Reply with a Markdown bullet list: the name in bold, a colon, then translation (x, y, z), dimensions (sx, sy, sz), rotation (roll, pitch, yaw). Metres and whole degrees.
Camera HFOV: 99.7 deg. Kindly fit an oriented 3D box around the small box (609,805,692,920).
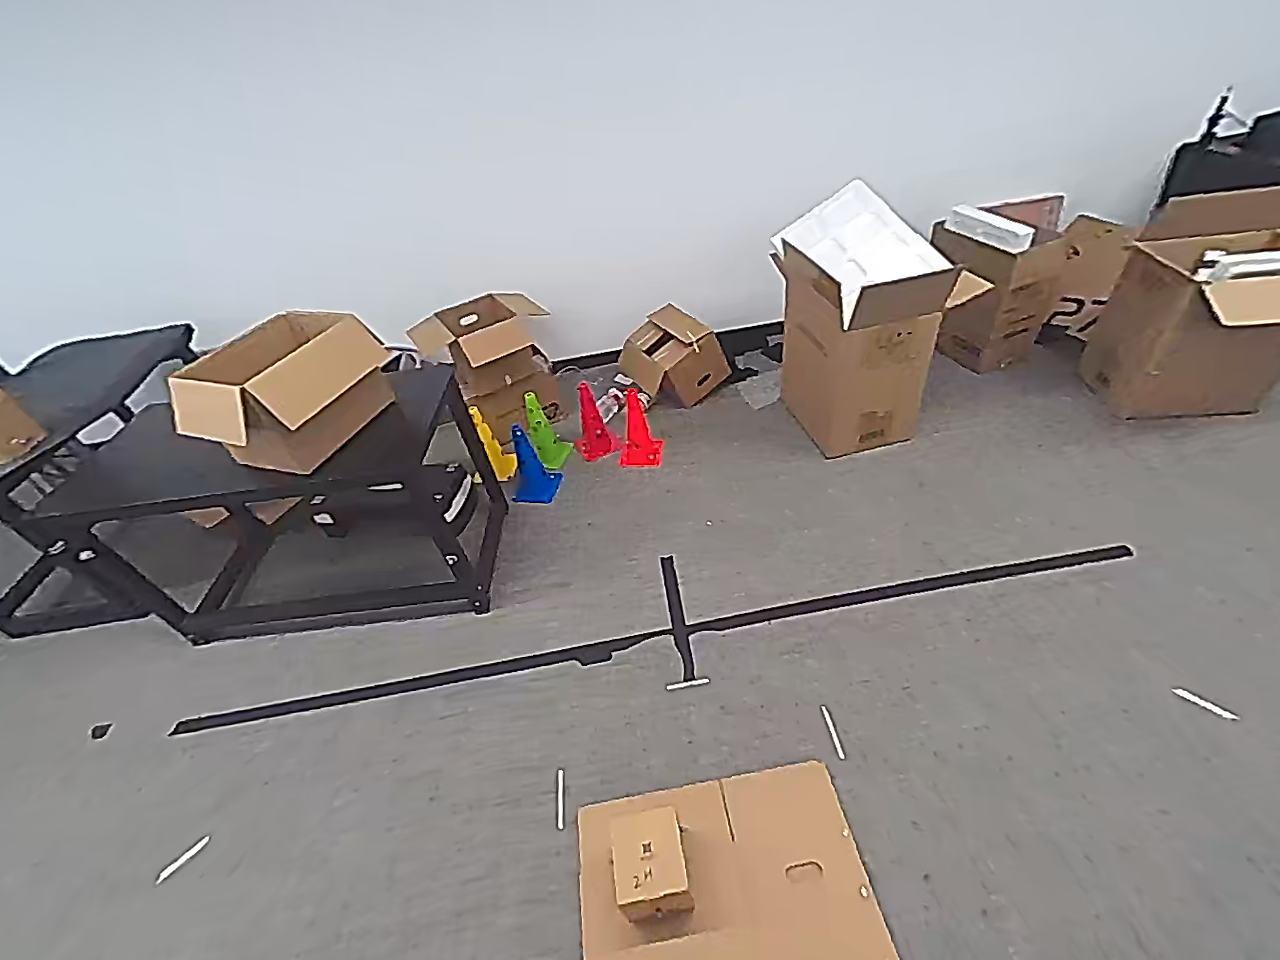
- **small box**: translation (0.025, 0.920, 1.300), dimensions (0.168, 0.176, 0.179), rotation (-12, 41, -1)
